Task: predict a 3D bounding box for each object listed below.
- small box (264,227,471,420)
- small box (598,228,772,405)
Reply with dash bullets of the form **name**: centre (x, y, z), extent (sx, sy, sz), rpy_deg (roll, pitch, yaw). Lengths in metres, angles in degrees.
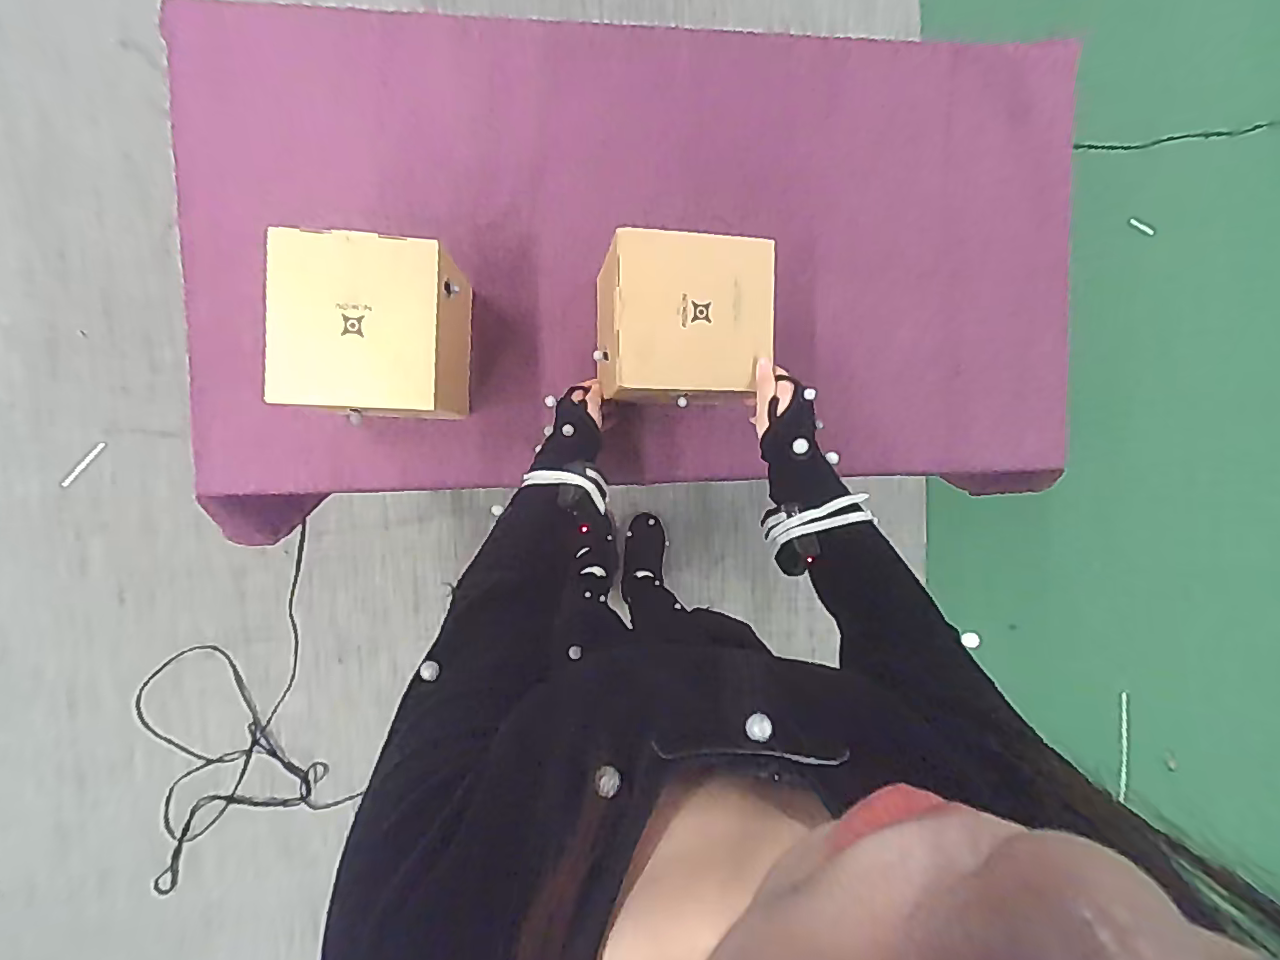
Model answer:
- **small box**: centre (-0.298, -0.164, 0.626), extent (0.168, 0.176, 0.179), rpy_deg (2, 91, -6)
- **small box**: centre (0.042, -0.181, 0.651), extent (0.179, 0.176, 0.168), rpy_deg (0, 93, -11)
